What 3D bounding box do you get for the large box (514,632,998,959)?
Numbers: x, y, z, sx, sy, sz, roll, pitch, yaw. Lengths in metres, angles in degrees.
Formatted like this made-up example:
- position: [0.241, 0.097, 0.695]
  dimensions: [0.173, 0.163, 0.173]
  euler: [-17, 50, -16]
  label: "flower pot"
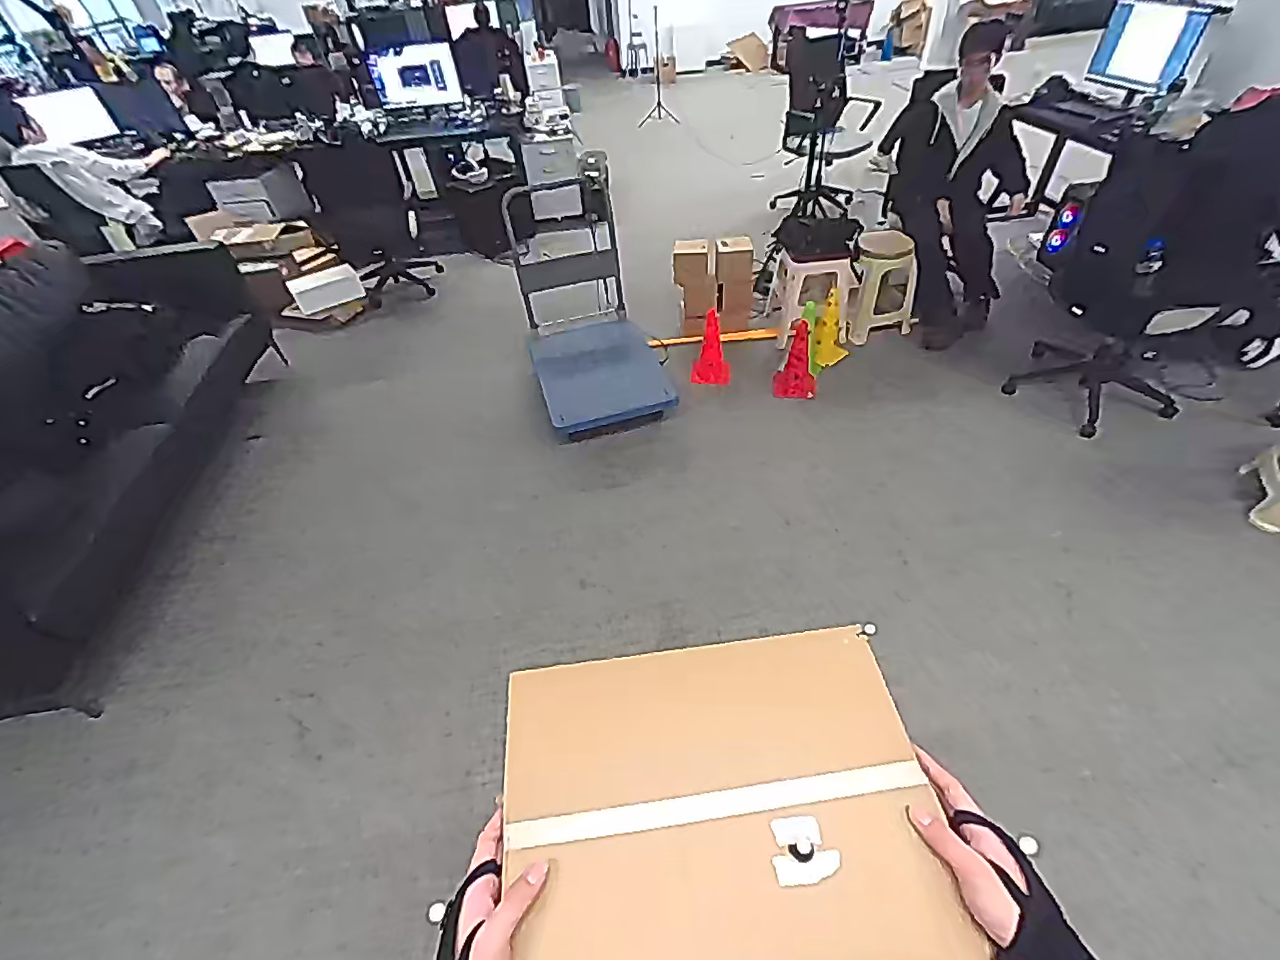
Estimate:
- position: [0.082, 0.416, 0.631]
  dimensions: [0.408, 0.320, 0.320]
  euler: [-7, 49, -3]
  label: "large box"
